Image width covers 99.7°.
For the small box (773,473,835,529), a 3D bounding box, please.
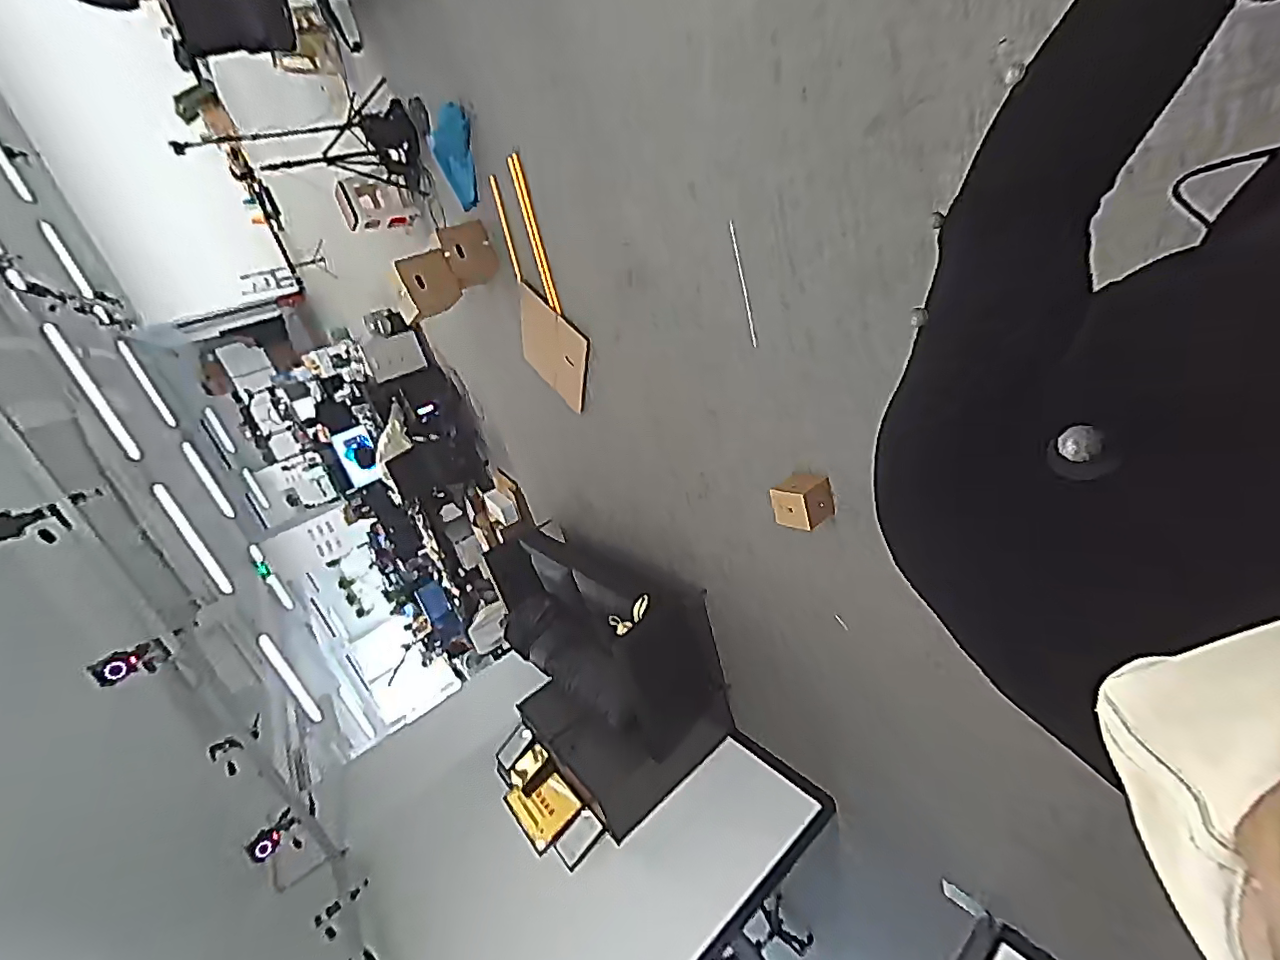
[{"bbox_3d":[0.683,0.080,2.226,0.179,0.176,0.168,12,125,54],"label":"small box"}]
